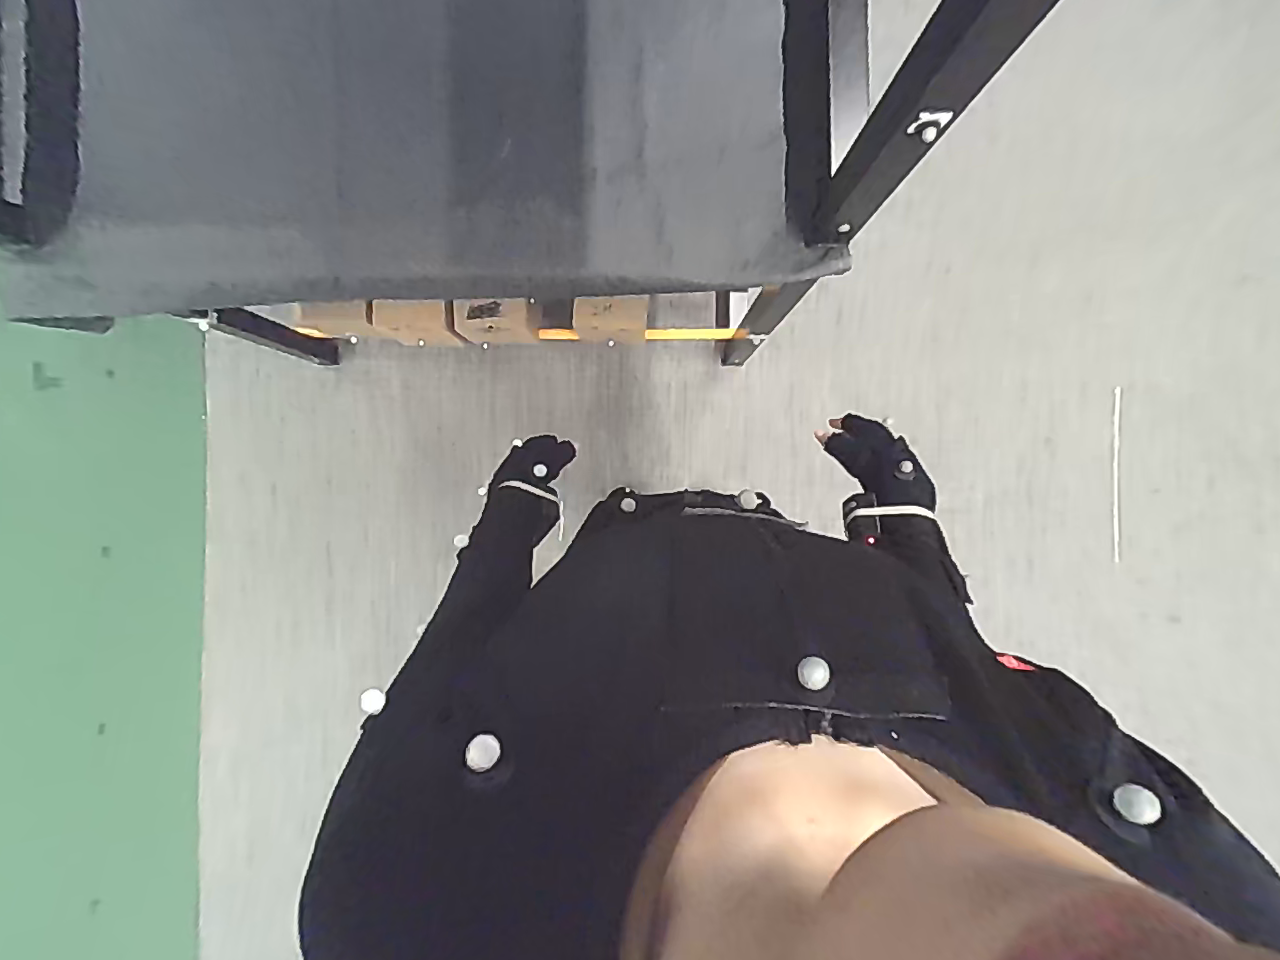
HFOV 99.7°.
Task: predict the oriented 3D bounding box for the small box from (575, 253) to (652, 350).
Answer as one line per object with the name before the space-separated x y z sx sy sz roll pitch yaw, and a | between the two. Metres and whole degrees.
small box | -0.060 -0.427 1.314 0.168 0.176 0.179 5 92 1
